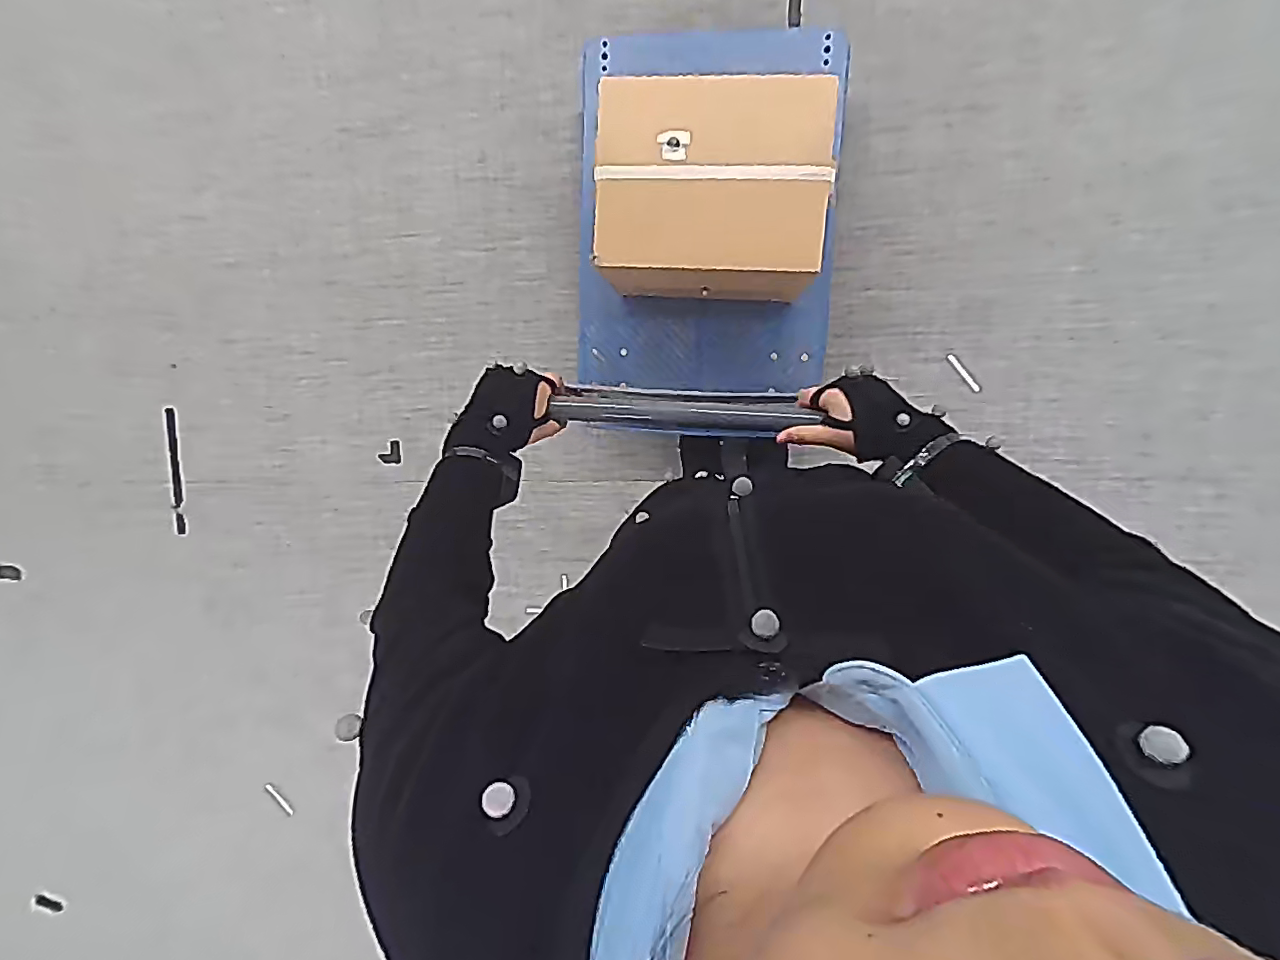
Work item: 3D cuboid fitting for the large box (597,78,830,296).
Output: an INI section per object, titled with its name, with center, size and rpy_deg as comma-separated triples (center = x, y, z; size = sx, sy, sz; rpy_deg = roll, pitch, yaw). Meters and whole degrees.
[large box]
center = 0.143, -0.559, 1.103
size = 0.408, 0.320, 0.320
rpy_deg = 4, 98, 8
